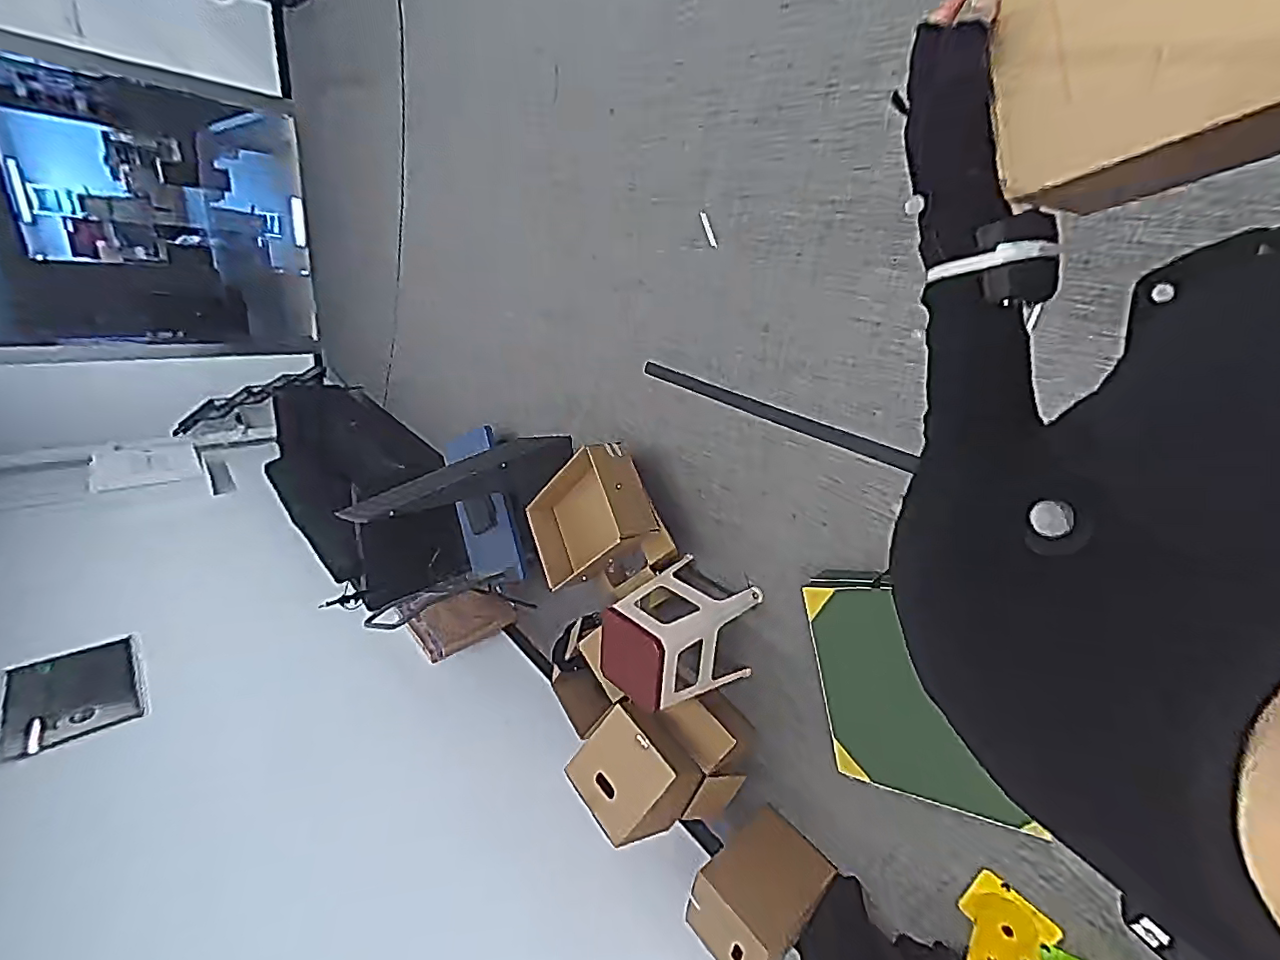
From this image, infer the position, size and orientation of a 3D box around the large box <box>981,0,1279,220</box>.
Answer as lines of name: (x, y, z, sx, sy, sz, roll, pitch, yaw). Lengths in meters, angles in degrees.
large box: (0.493, -0.414, 0.360, 0.408, 0.320, 0.320, -3, 104, 48)
